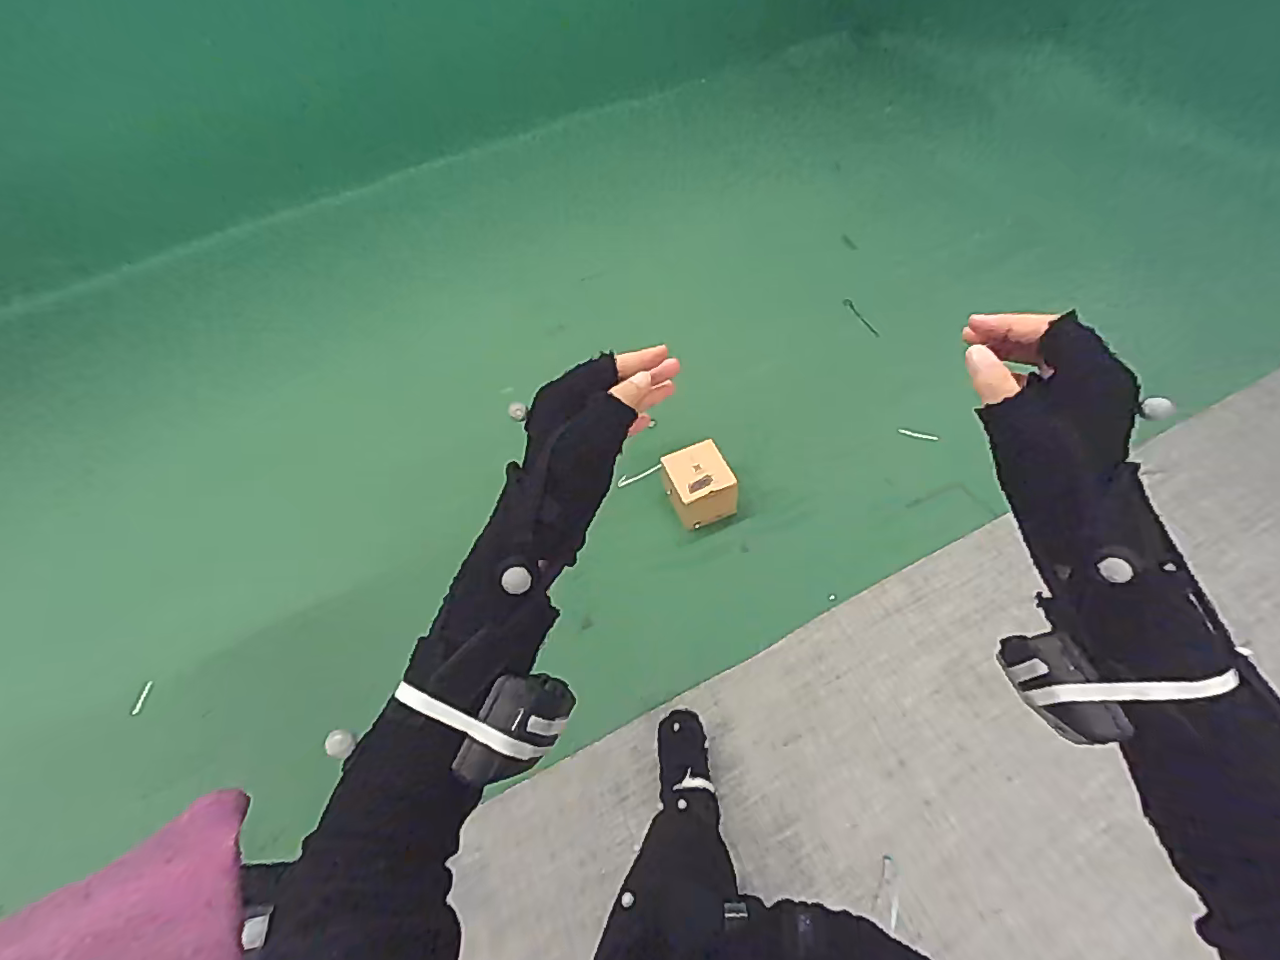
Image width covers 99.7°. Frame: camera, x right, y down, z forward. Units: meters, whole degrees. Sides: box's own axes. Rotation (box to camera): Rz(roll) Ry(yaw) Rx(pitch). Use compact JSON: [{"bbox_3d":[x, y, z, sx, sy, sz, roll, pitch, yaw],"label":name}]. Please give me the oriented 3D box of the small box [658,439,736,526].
[{"bbox_3d":[0.168,0.017,1.600,0.168,0.176,0.179,-24,59,-9],"label":"small box"}]
